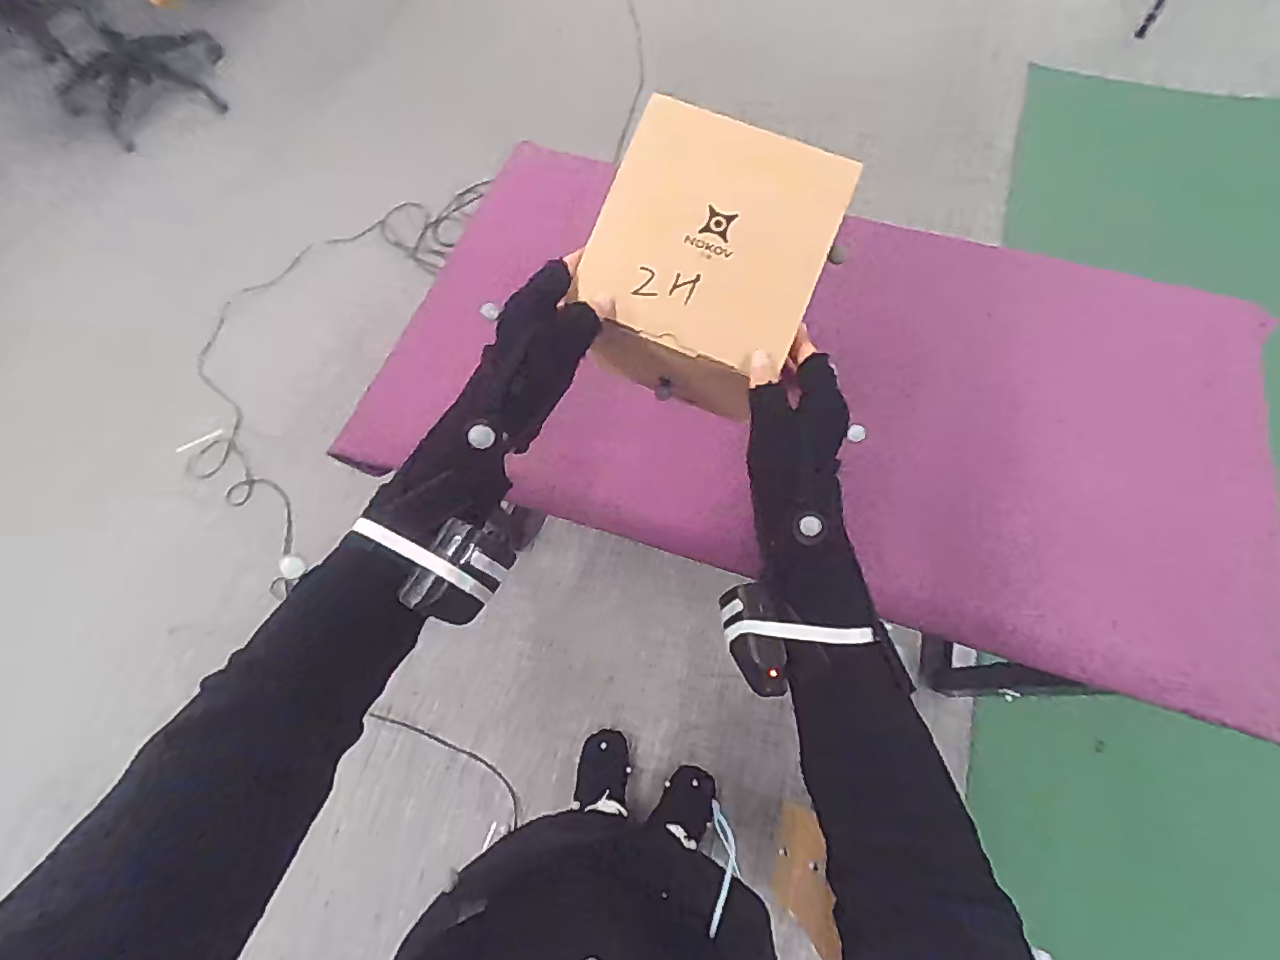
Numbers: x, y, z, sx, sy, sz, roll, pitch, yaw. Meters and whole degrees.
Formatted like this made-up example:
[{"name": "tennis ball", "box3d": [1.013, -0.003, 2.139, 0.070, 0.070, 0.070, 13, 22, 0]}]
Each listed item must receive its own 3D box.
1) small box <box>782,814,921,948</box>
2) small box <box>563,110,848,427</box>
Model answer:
[{"name": "small box", "box3d": [0.365, 0.732, 0.961, 0.168, 0.176, 0.179, 21, 69, 9]}, {"name": "small box", "box3d": [0.051, -0.165, 0.480, 0.168, 0.176, 0.179, 23, 87, 4]}]
